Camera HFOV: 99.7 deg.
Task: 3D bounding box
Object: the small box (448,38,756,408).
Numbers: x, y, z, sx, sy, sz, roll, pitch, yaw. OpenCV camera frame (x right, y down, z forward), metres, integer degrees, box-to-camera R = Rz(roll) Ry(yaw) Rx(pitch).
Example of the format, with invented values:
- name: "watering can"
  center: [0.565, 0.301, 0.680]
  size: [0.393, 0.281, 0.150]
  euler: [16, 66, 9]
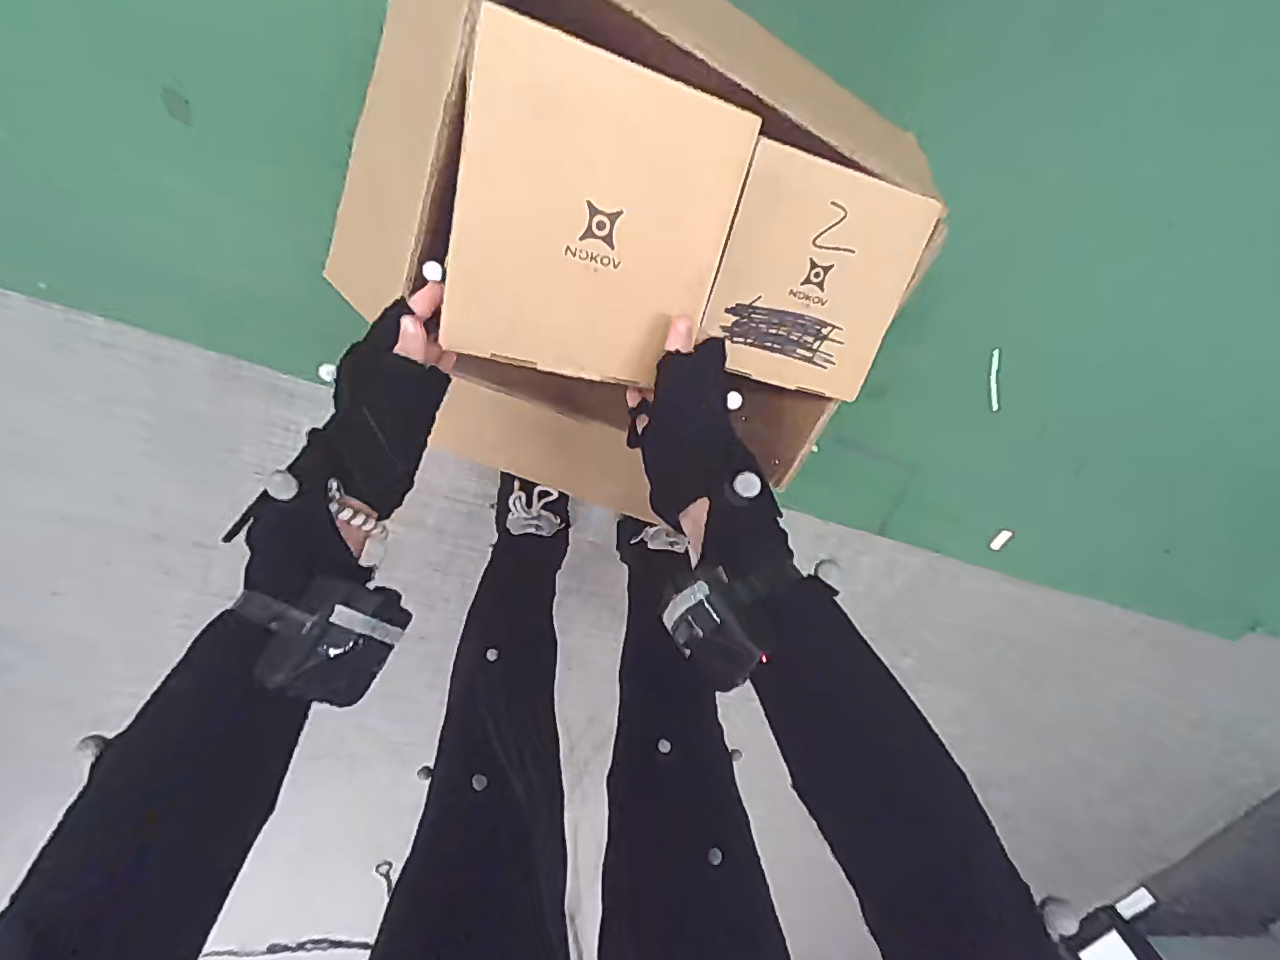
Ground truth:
- name: "small box"
  center: [-0.047, -0.174, 0.403]
  size: [0.168, 0.176, 0.179]
  euler: [7, 114, -22]
